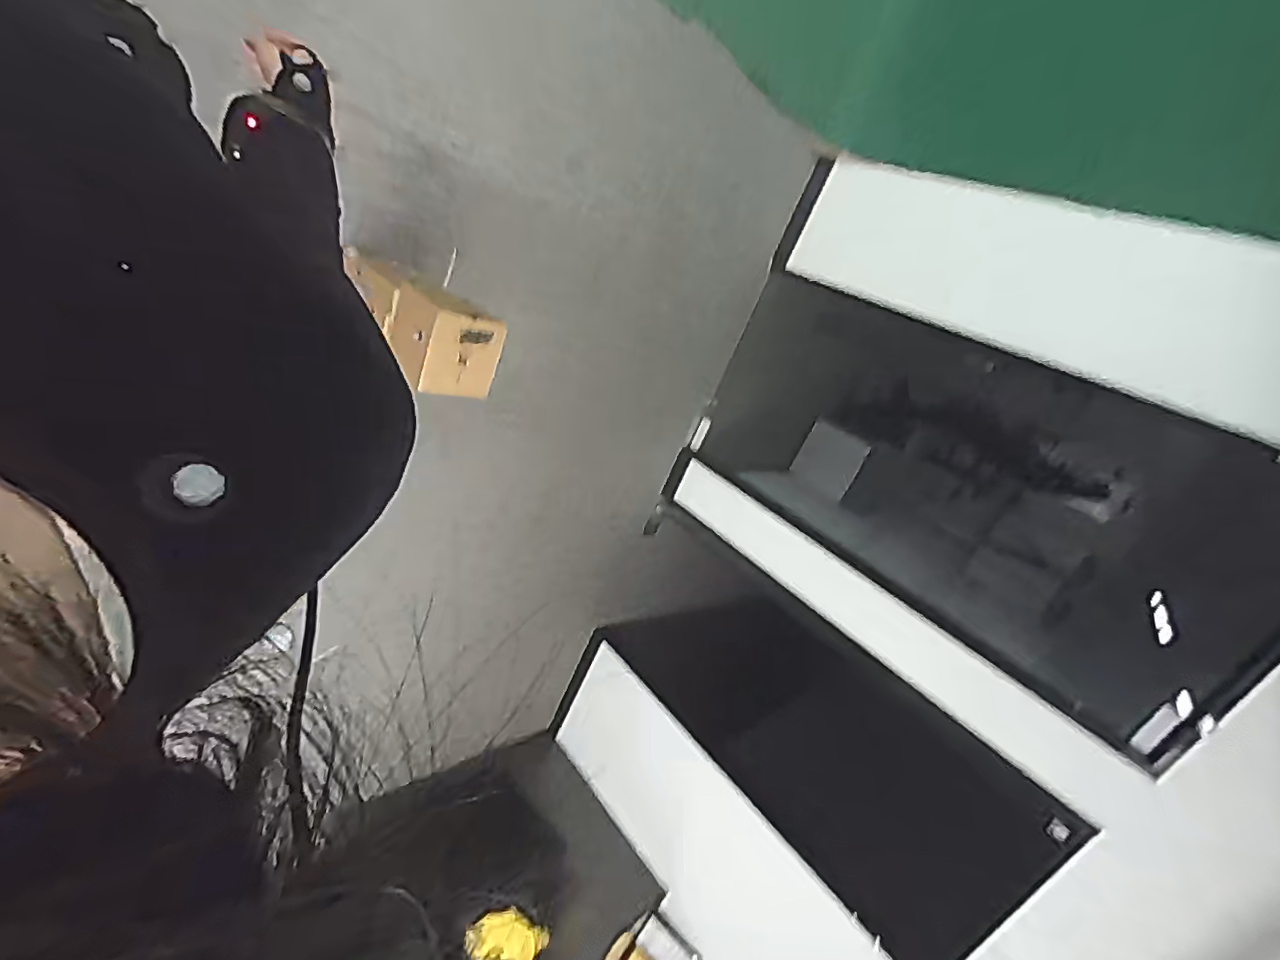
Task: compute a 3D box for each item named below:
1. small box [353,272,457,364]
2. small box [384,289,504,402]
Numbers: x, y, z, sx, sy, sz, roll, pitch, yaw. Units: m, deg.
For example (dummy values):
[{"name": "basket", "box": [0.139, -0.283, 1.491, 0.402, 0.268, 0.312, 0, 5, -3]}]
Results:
[{"name": "small box", "box": [-0.542, -0.367, 1.258, 0.179, 0.176, 0.168, -1, 122, -48]}, {"name": "small box", "box": [-0.427, -0.290, 1.168, 0.168, 0.176, 0.179, 0, 122, -50]}]
